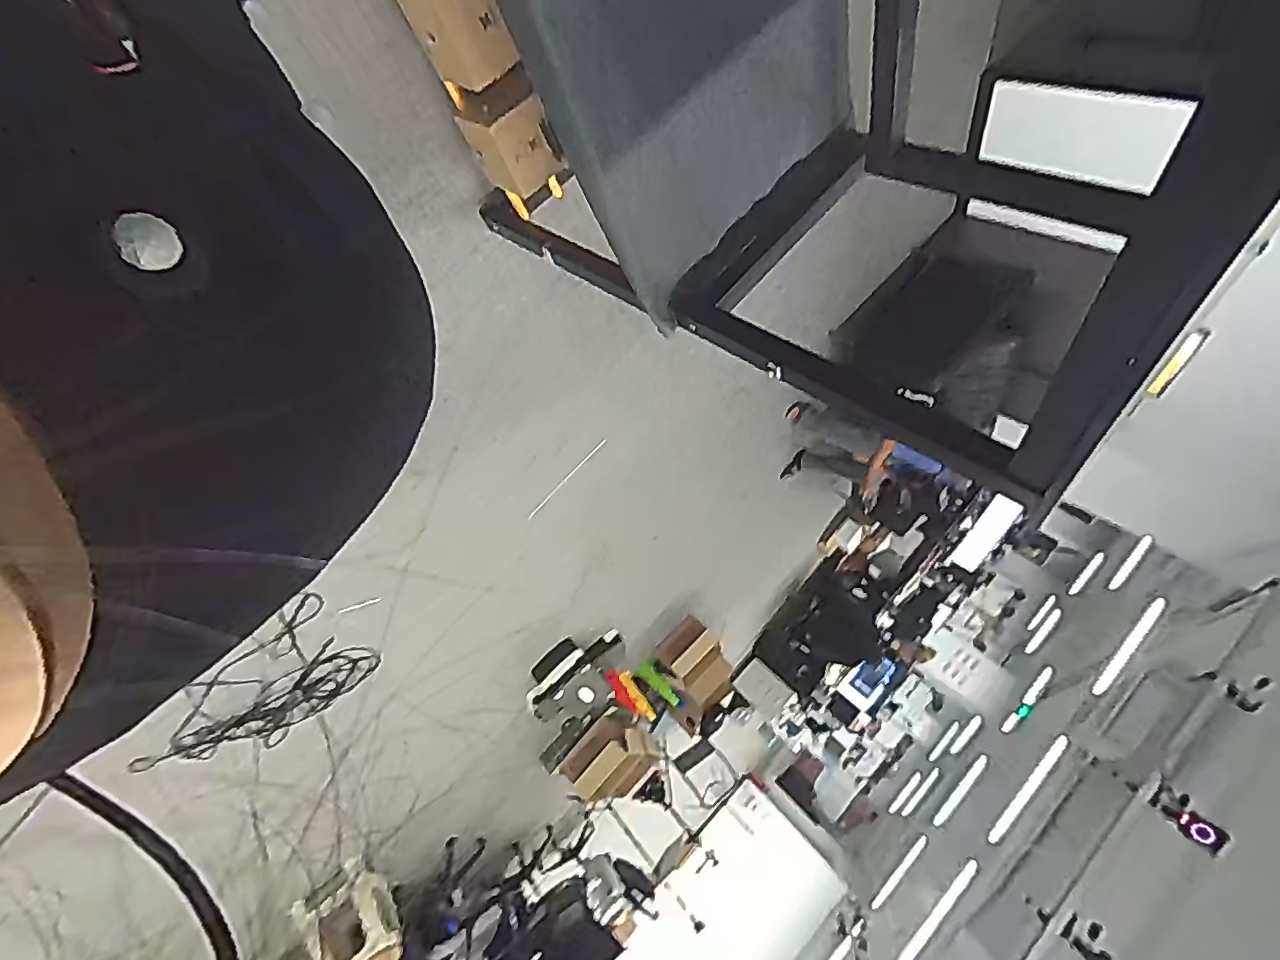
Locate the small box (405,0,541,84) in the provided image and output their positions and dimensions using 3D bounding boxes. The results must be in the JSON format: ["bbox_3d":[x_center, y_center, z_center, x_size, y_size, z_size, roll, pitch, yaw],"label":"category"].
[{"bbox_3d":[-0.337,-0.925,1.067,0.179,0.176,0.168,-45,146,-8],"label":"small box"}]
